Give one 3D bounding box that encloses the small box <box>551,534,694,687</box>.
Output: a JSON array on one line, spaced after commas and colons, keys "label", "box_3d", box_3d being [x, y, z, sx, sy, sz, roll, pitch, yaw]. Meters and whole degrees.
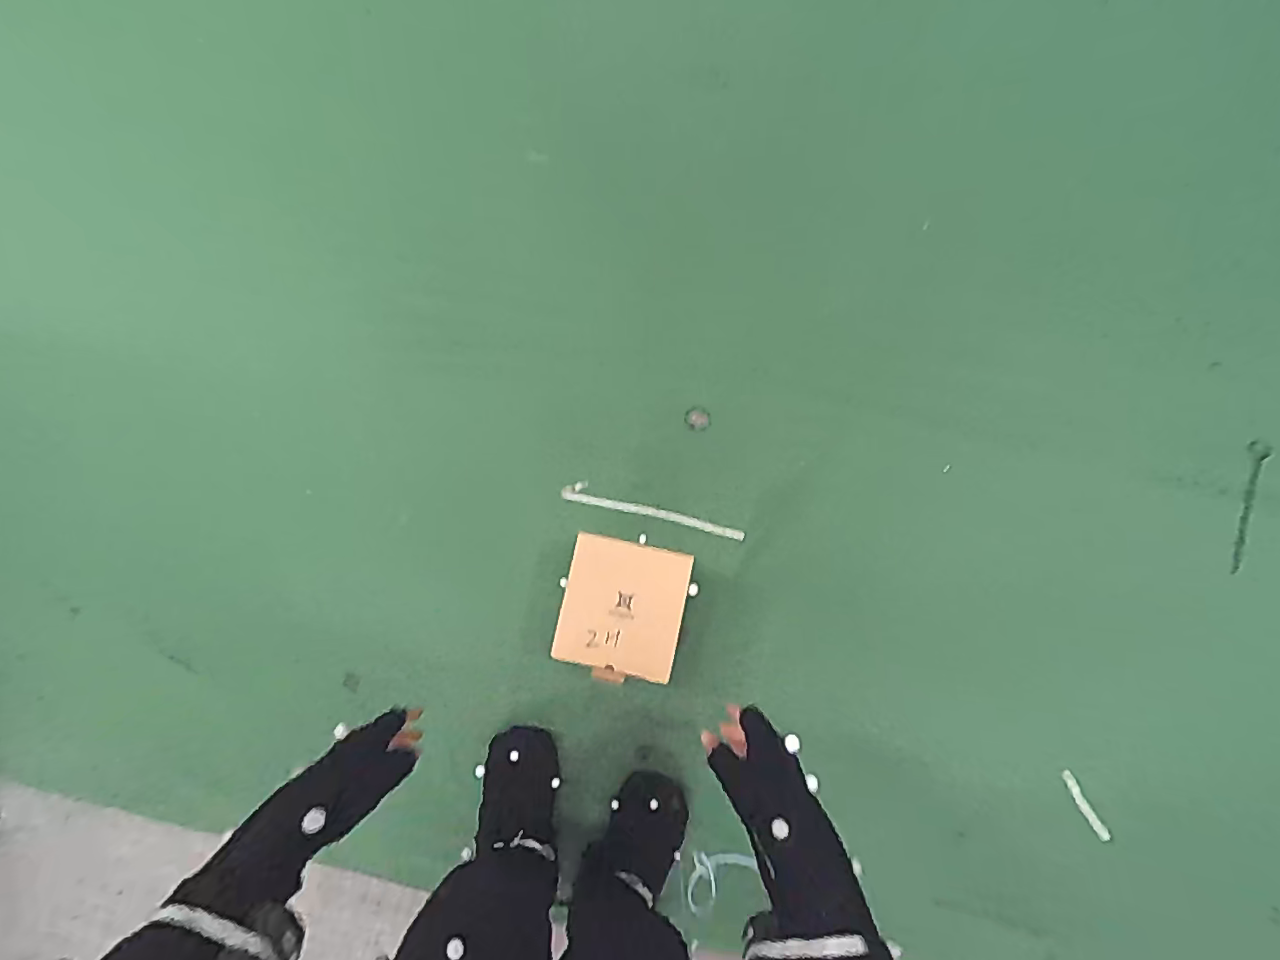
[{"label": "small box", "box_3d": [-0.023, 0.188, 0.816, 0.168, 0.176, 0.179, 13, 82, 3]}]
